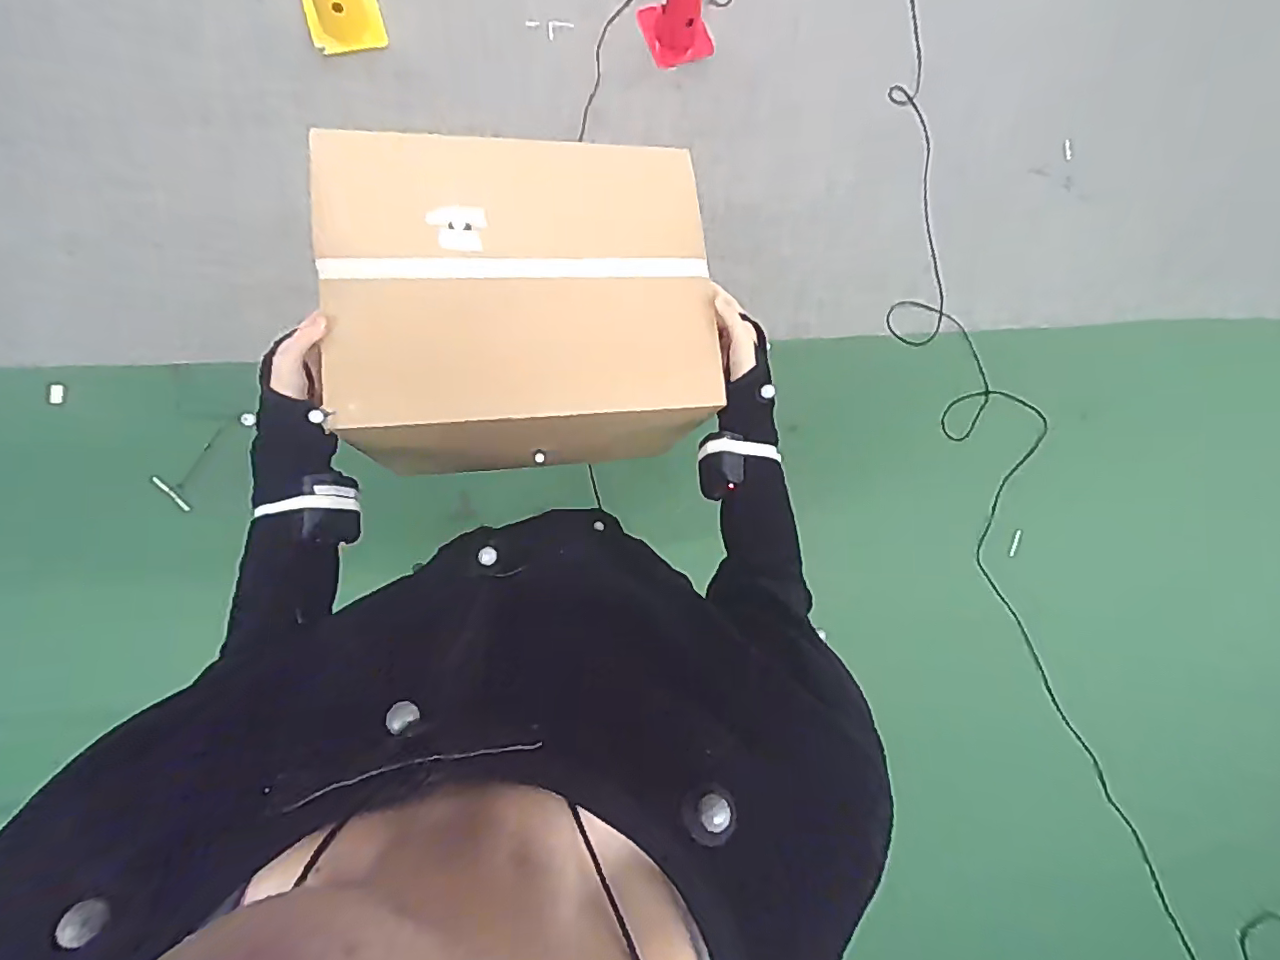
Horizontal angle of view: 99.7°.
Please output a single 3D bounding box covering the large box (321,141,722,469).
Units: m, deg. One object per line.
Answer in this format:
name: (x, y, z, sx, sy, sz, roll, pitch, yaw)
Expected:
large box: (-0.146, -0.200, 0.725, 0.408, 0.320, 0.320, -5, 83, -12)
